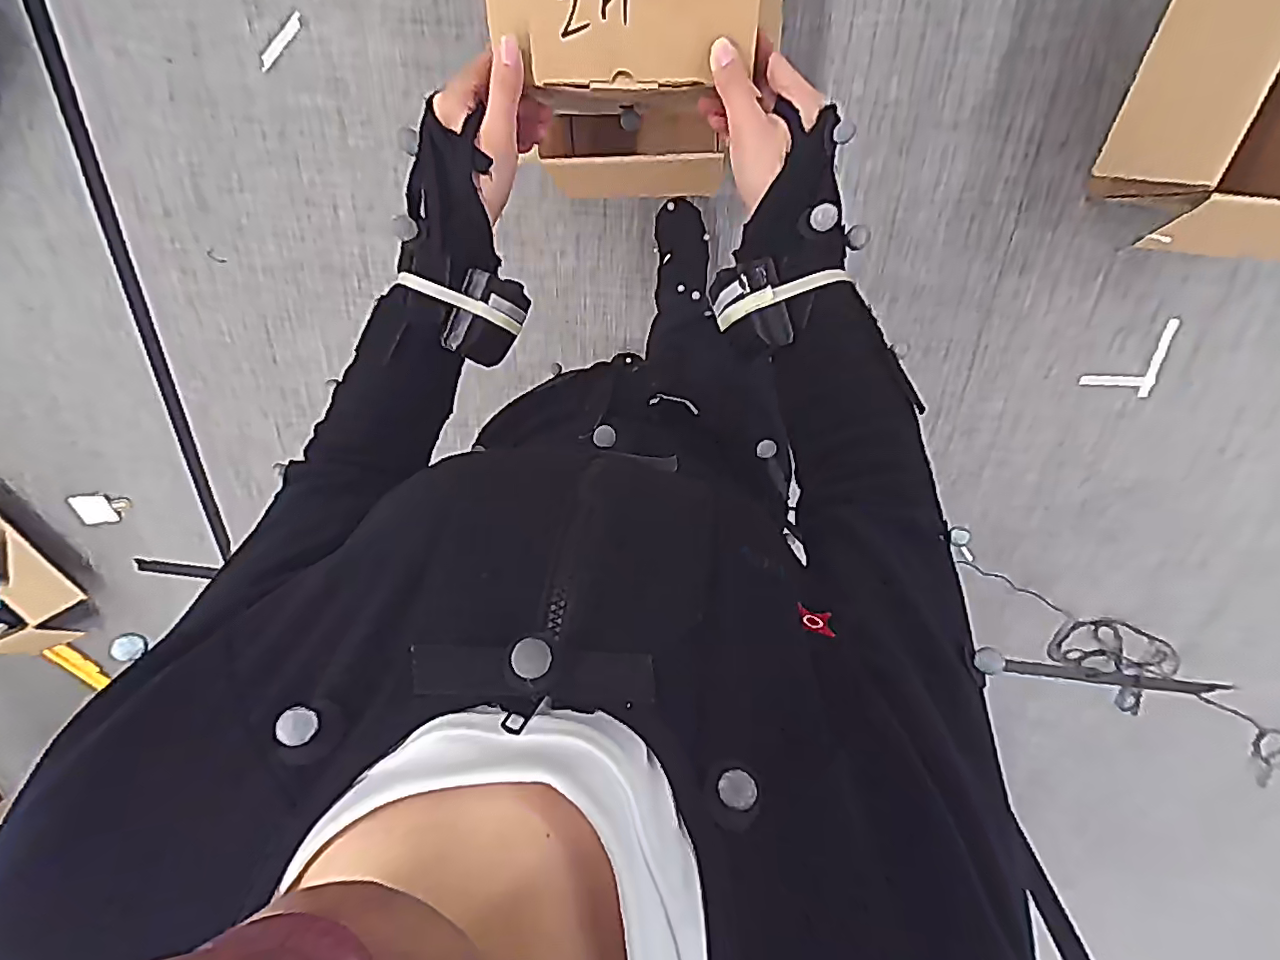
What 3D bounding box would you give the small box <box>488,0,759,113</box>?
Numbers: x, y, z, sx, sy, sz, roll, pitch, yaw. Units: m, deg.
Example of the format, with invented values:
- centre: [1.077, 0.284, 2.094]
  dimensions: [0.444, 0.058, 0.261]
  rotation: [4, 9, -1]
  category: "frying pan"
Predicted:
- centre: [-0.008, -0.368, 0.371]
  dimensions: [0.168, 0.176, 0.179]
  rotation: [1, 119, 2]
  category: "small box"
